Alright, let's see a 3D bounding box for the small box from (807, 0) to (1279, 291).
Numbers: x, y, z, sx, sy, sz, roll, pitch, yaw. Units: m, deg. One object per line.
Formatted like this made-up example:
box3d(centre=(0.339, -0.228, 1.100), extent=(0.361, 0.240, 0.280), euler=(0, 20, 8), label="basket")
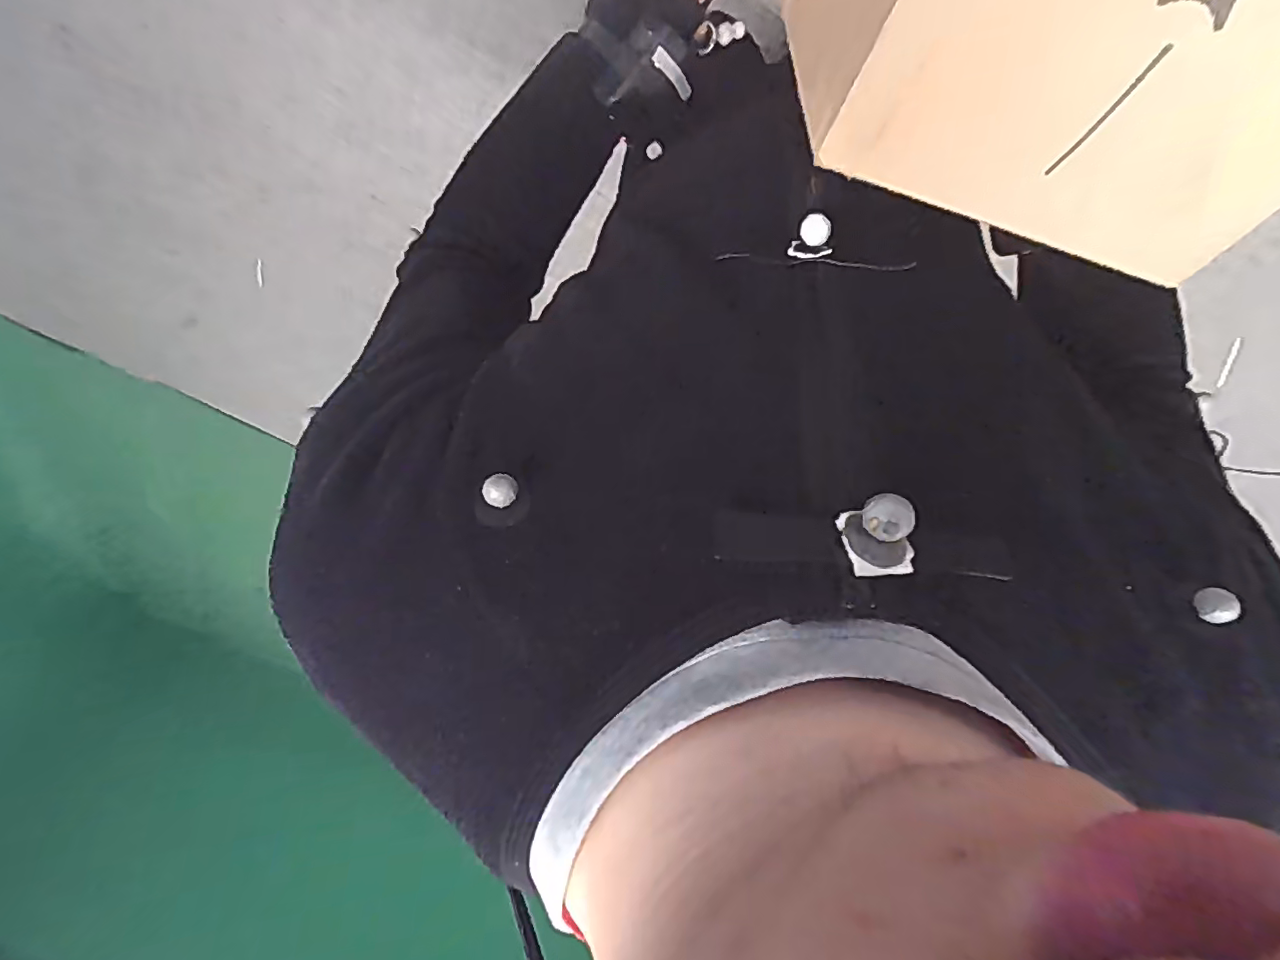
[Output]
box3d(centre=(0.170, -0.205, 0.182), extent=(0.168, 0.176, 0.179), euler=(14, 145, -9), label="small box")
